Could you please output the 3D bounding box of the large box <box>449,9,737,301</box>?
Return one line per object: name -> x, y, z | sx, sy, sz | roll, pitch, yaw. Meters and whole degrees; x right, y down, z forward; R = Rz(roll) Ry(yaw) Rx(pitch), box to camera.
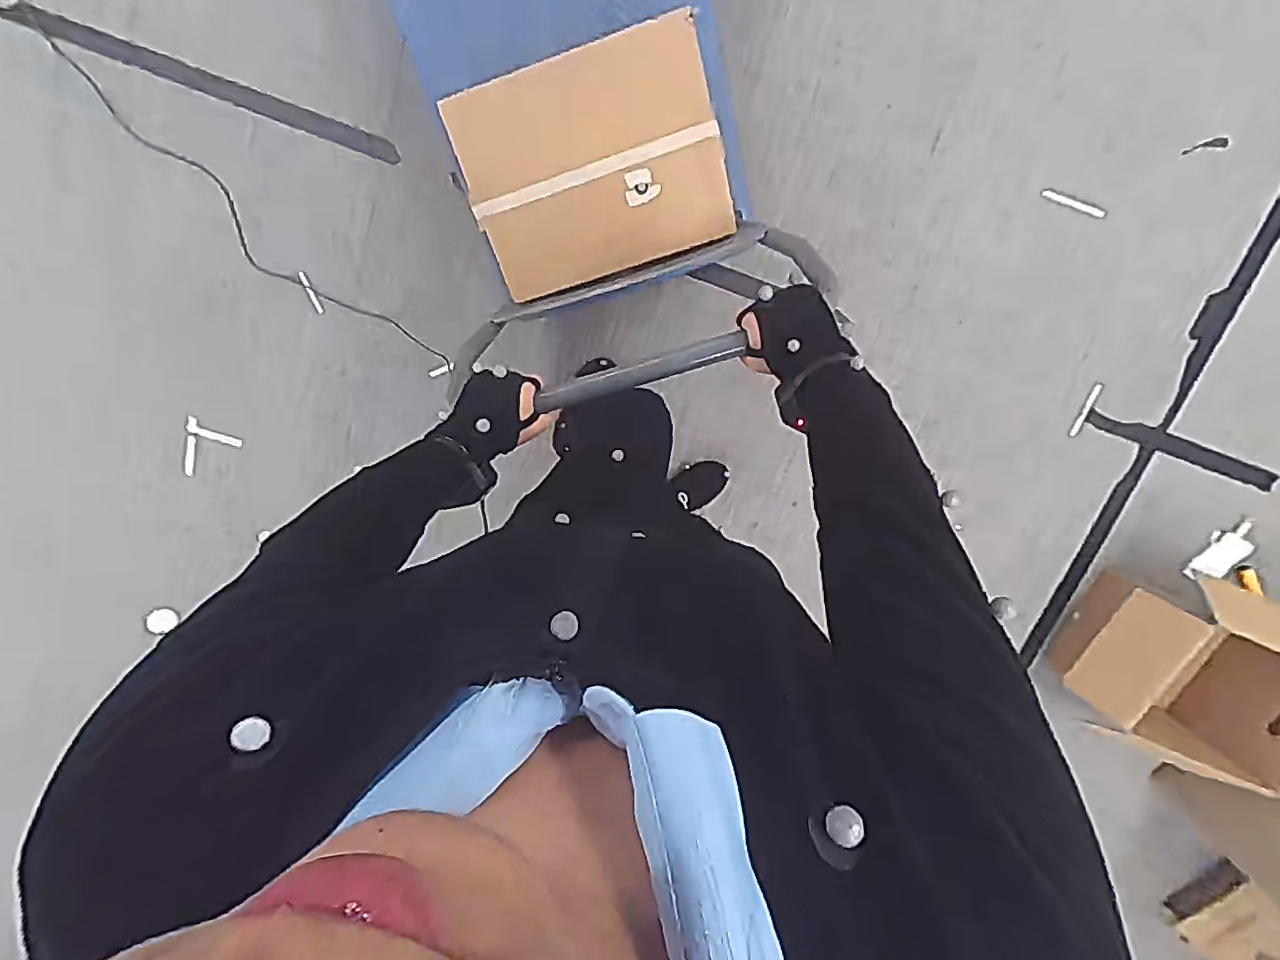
large box -> -0.072, -0.569, 1.015 | 0.408, 0.320, 0.320 | -17, 116, 6
